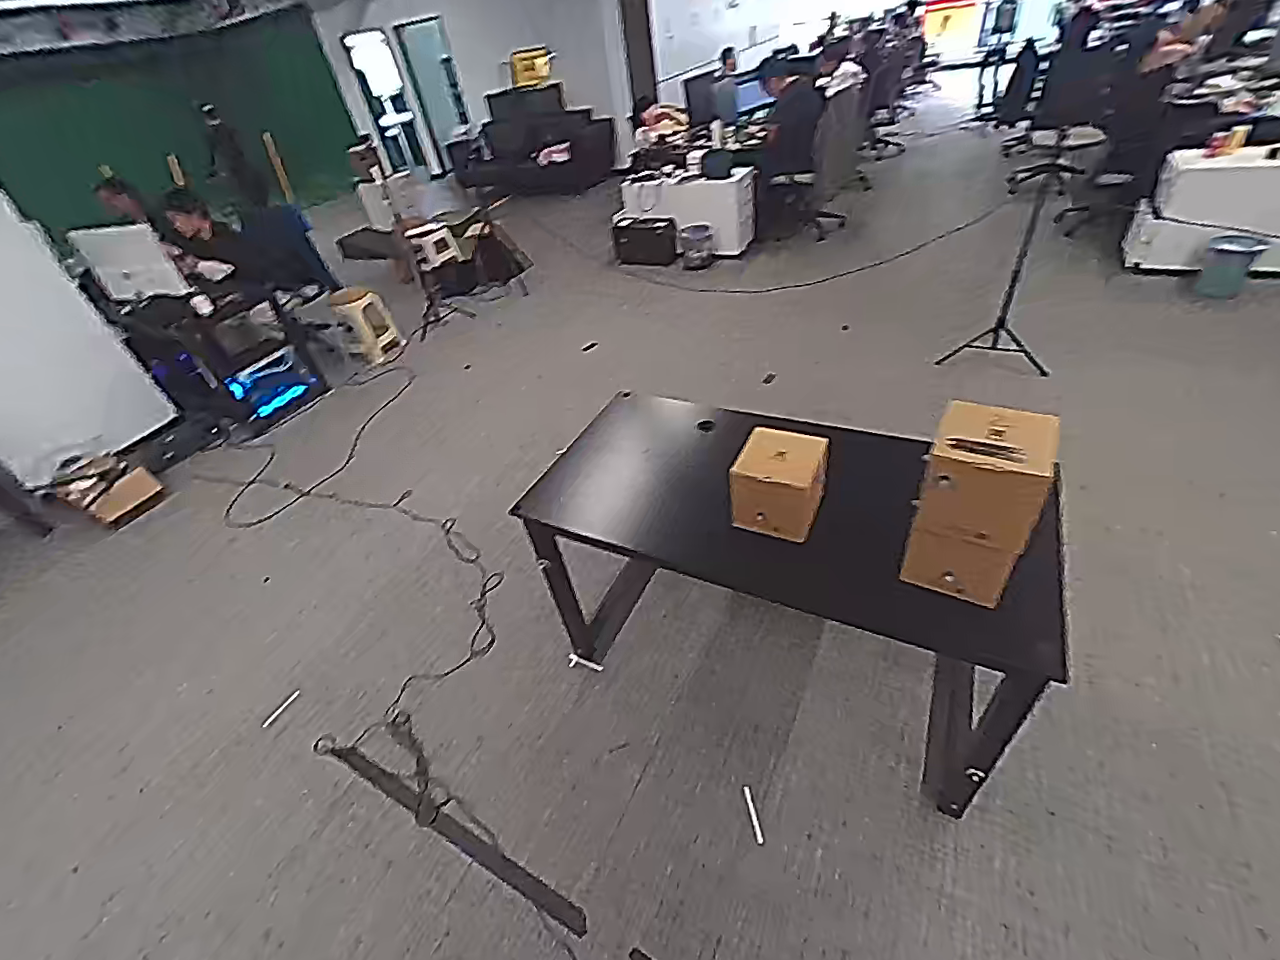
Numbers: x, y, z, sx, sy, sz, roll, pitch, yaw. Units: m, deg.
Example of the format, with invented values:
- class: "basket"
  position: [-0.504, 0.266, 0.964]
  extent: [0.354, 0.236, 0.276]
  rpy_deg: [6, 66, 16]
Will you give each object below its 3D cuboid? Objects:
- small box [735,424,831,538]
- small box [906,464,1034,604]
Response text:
- class: "small box"
  position: [0.322, 0.001, 1.228]
  extent: [0.168, 0.176, 0.179]
  rpy_deg: [13, 46, 26]
- class: "small box"
  position: [0.628, 0.102, 1.041]
  extent: [0.168, 0.176, 0.179]
  rpy_deg: [17, 47, 30]
